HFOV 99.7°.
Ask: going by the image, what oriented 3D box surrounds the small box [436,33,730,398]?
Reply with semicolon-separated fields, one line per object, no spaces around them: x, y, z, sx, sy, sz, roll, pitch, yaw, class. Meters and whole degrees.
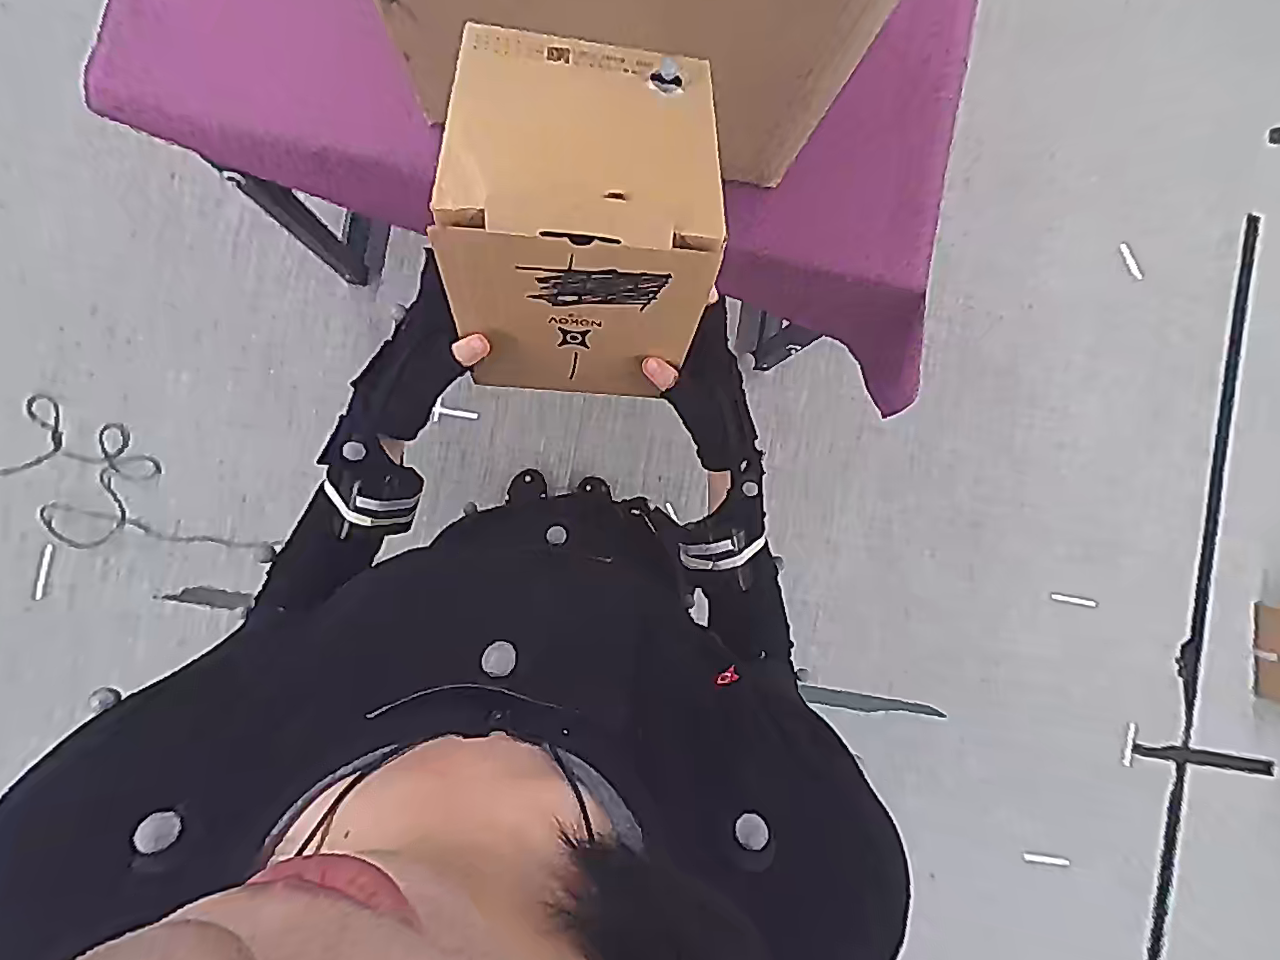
-0.043;-0.182;0.401;0.168;0.179;0.176;3;66;-8;small box
